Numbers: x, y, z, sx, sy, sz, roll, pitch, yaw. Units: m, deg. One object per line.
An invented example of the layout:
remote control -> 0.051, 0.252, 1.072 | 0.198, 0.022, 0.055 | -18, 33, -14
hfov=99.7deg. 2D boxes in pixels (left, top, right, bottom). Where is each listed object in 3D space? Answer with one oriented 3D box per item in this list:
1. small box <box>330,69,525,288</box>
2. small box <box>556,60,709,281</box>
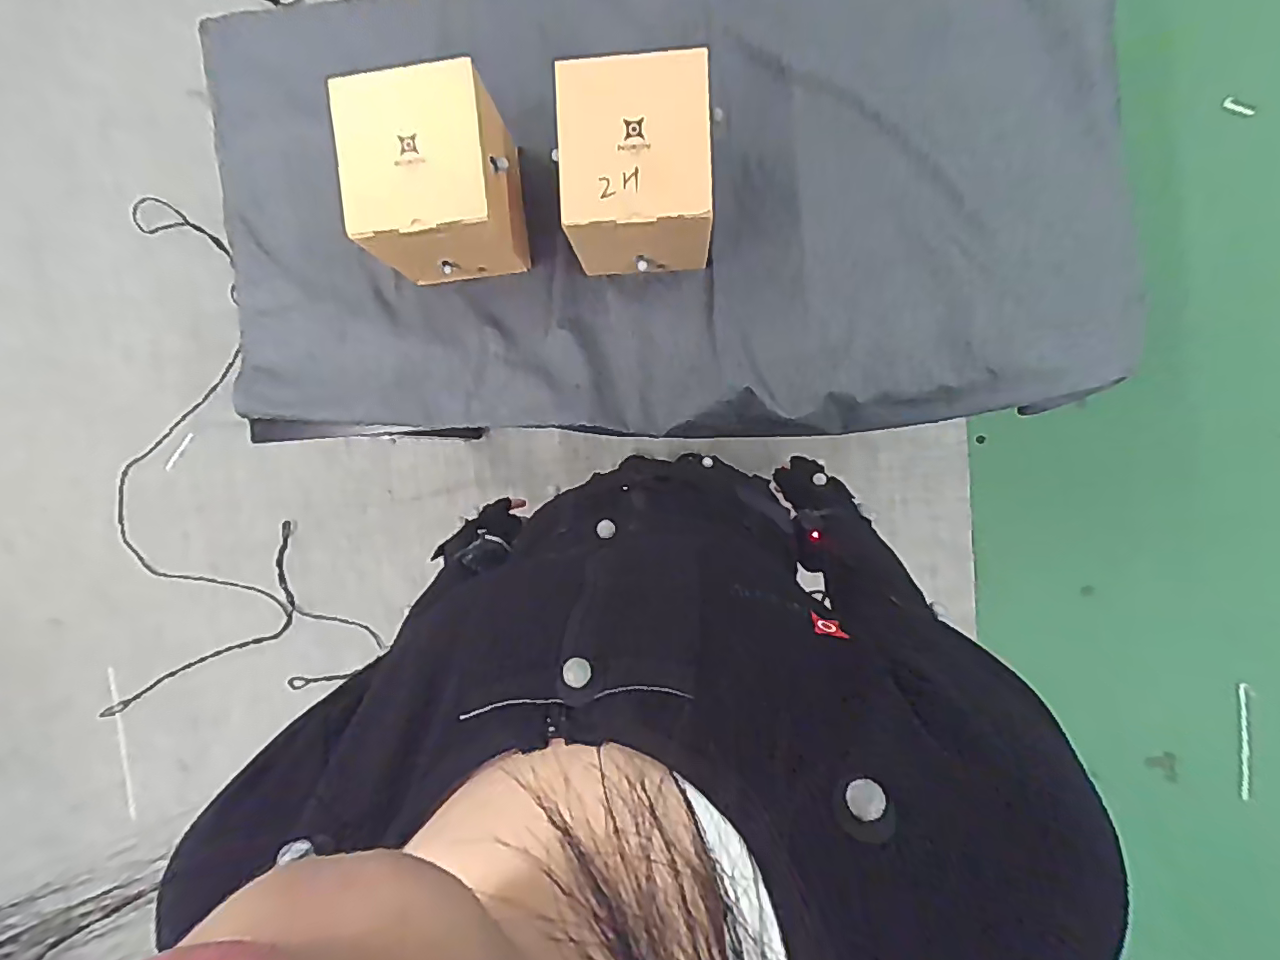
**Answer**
small box -> -0.252, -0.361, 0.679 | 0.168, 0.176, 0.179 | -6, 93, 4
small box -> -0.005, -0.361, 0.660 | 0.168, 0.176, 0.179 | -2, 93, 4
